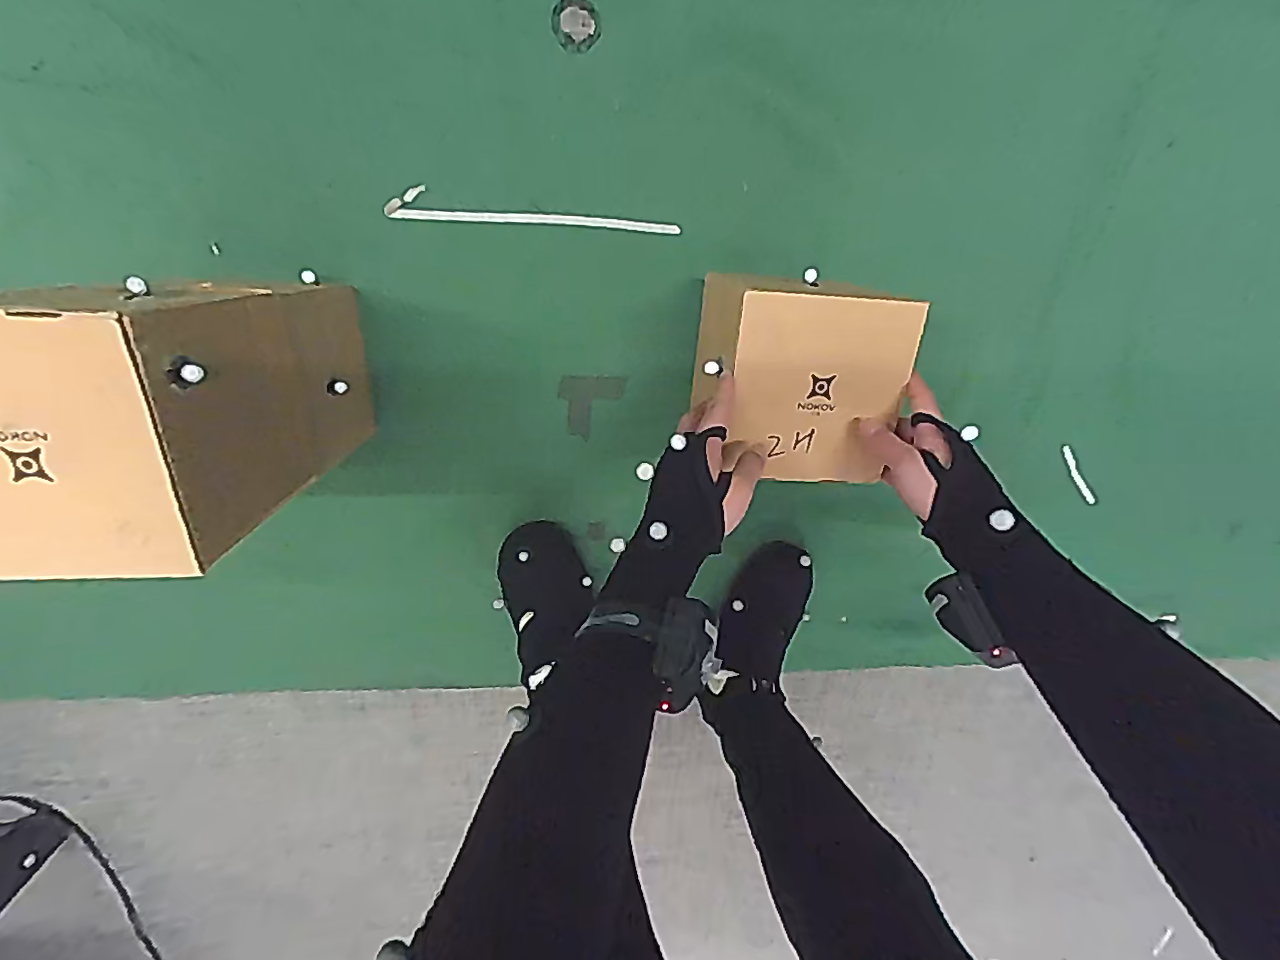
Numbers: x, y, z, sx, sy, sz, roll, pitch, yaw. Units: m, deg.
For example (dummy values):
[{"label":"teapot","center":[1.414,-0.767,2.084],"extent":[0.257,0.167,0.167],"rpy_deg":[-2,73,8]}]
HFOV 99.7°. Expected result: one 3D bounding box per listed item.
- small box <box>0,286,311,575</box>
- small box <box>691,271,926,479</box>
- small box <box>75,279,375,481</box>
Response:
[{"label":"small box","center":[-0.381,-0.047,0.407],"extent":[0.168,0.176,0.179],"rpy_deg":[0,112,-4]},{"label":"small box","center":[0.153,-0.116,0.562],"extent":[0.168,0.176,0.179],"rpy_deg":[2,116,-6]},{"label":"small box","center":[-0.396,-0.109,0.555],"extent":[0.168,0.176,0.179],"rpy_deg":[0,113,-4]}]
